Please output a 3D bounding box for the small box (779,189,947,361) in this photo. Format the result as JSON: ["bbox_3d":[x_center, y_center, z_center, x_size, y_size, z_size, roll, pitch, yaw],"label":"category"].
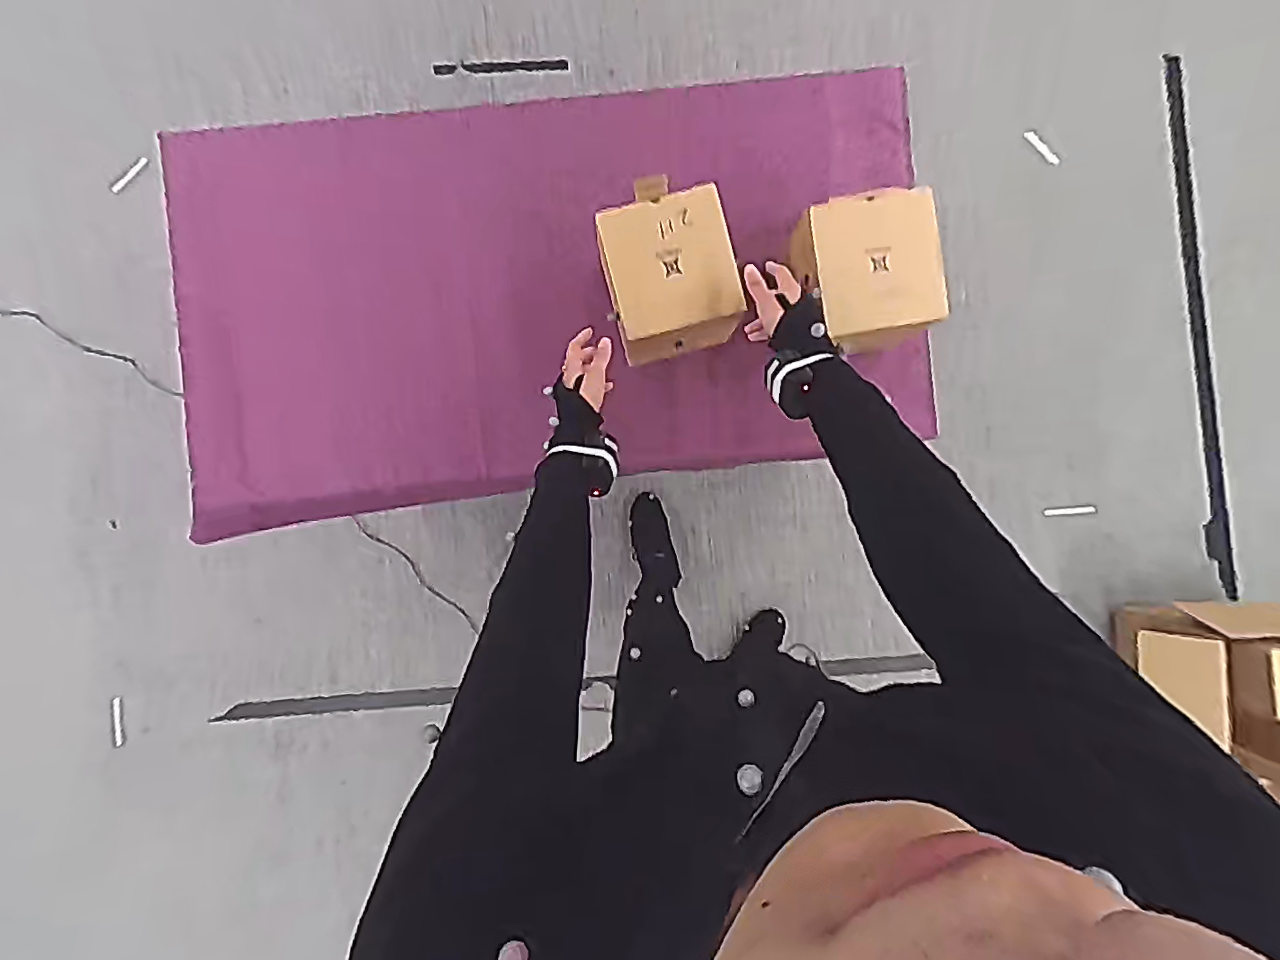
[{"bbox_3d":[0.313,-0.289,0.795,0.168,0.176,0.179,-9,89,0],"label":"small box"}]

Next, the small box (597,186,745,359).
[{"bbox_3d":[0.041,-0.286,0.793,0.168,0.176,0.179,-15,90,-1],"label":"small box"}]
